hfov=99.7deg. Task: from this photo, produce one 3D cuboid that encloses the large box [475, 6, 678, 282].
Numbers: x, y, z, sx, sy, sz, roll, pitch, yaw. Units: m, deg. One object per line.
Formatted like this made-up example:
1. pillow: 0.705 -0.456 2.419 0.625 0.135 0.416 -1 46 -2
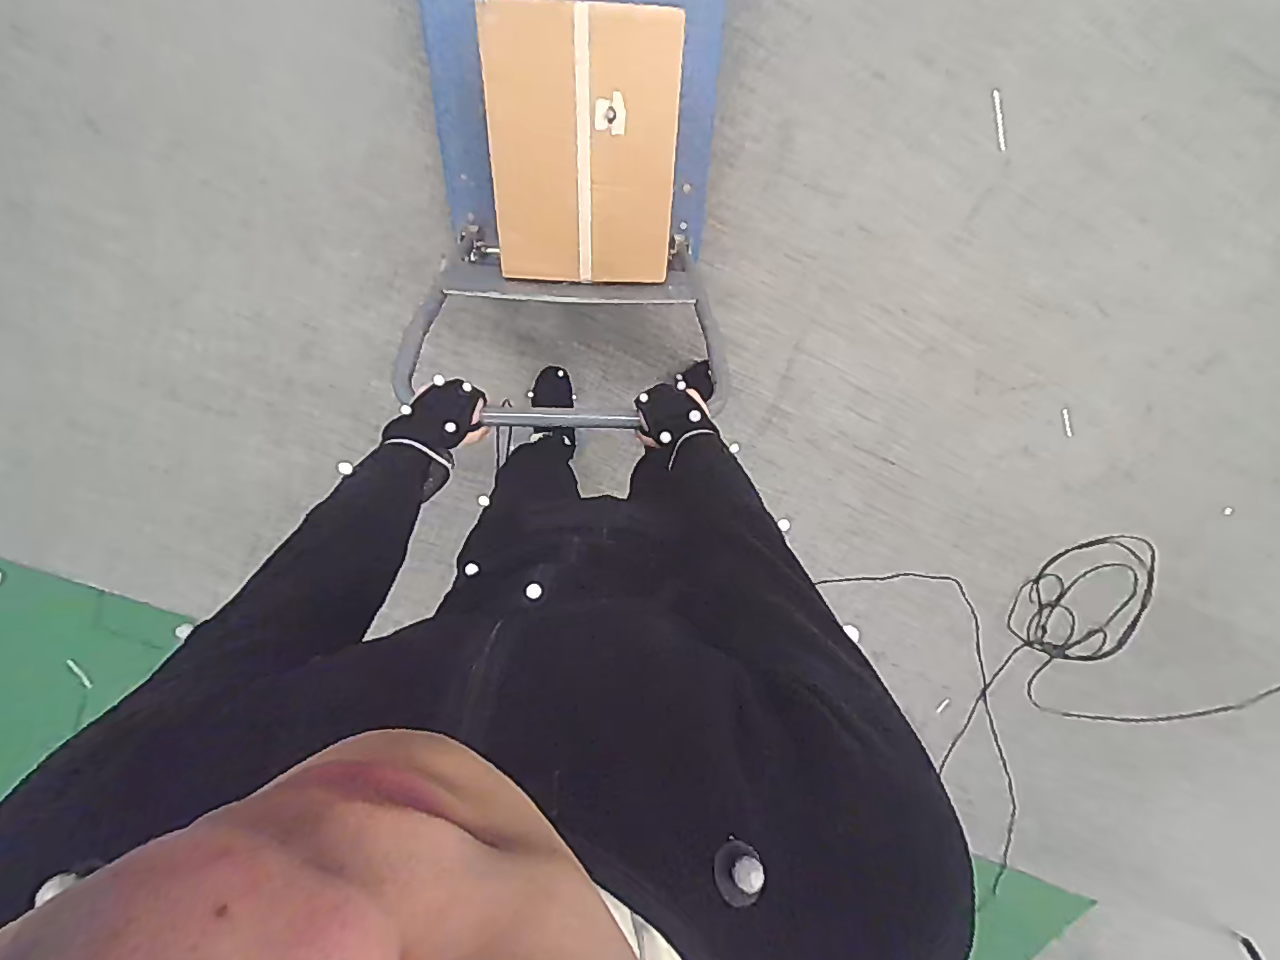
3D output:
1. large box: -0.105 -0.627 1.046 0.320 0.320 0.408 -1 125 -4
